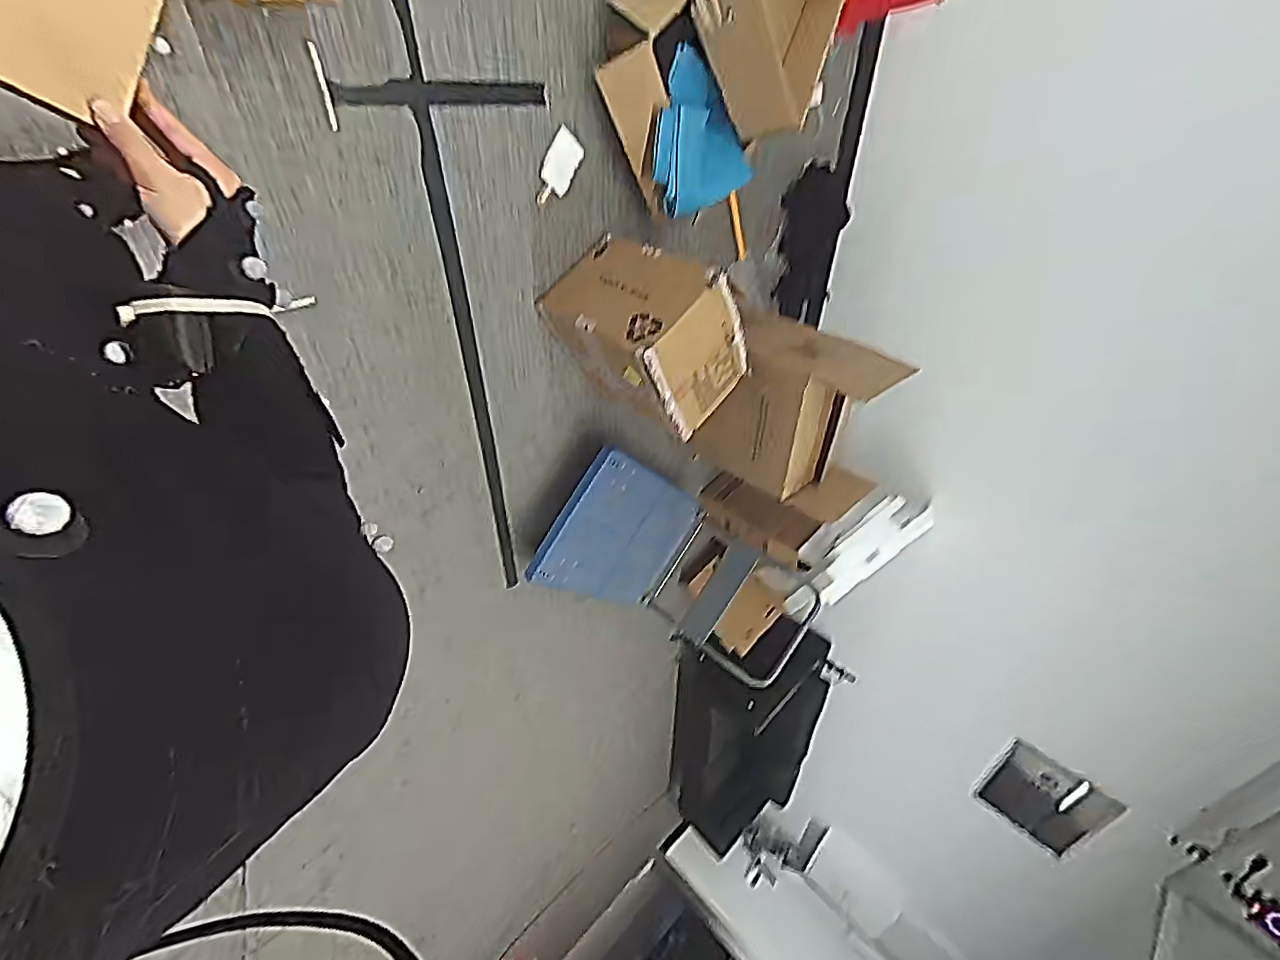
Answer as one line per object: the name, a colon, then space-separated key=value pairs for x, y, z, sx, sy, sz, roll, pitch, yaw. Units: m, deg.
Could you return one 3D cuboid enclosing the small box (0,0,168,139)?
small box: x=-0.417 y=-0.353 z=0.338 sx=0.168 sy=0.176 sz=0.179 roll=16 pitch=103 yaw=-53
